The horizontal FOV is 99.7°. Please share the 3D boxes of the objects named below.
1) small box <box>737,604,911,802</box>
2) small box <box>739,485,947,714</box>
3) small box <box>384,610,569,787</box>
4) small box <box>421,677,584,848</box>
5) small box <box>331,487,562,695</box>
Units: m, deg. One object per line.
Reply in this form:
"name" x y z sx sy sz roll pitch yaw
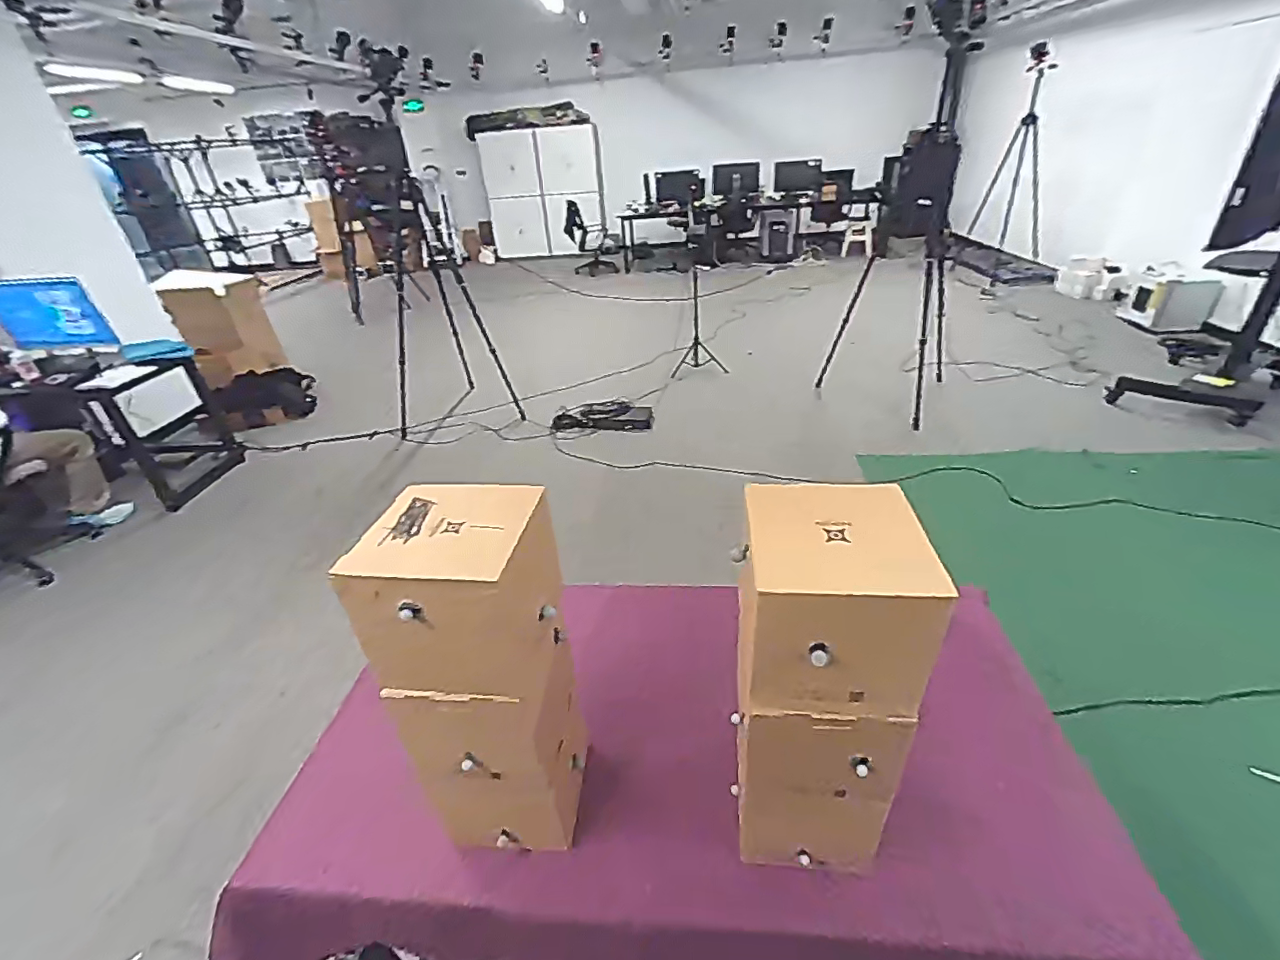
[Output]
"small box" 0.205 0.260 0.656 0.168 0.176 0.179 0 32 7
"small box" 0.193 0.122 0.571 0.168 0.176 0.179 0 32 7
"small box" -0.194 0.263 0.703 0.168 0.176 0.179 -1 32 7
"small box" -0.183 0.406 0.786 0.179 0.176 0.168 -1 32 5
"small box" -0.200 0.123 0.617 0.179 0.176 0.168 1 32 8
